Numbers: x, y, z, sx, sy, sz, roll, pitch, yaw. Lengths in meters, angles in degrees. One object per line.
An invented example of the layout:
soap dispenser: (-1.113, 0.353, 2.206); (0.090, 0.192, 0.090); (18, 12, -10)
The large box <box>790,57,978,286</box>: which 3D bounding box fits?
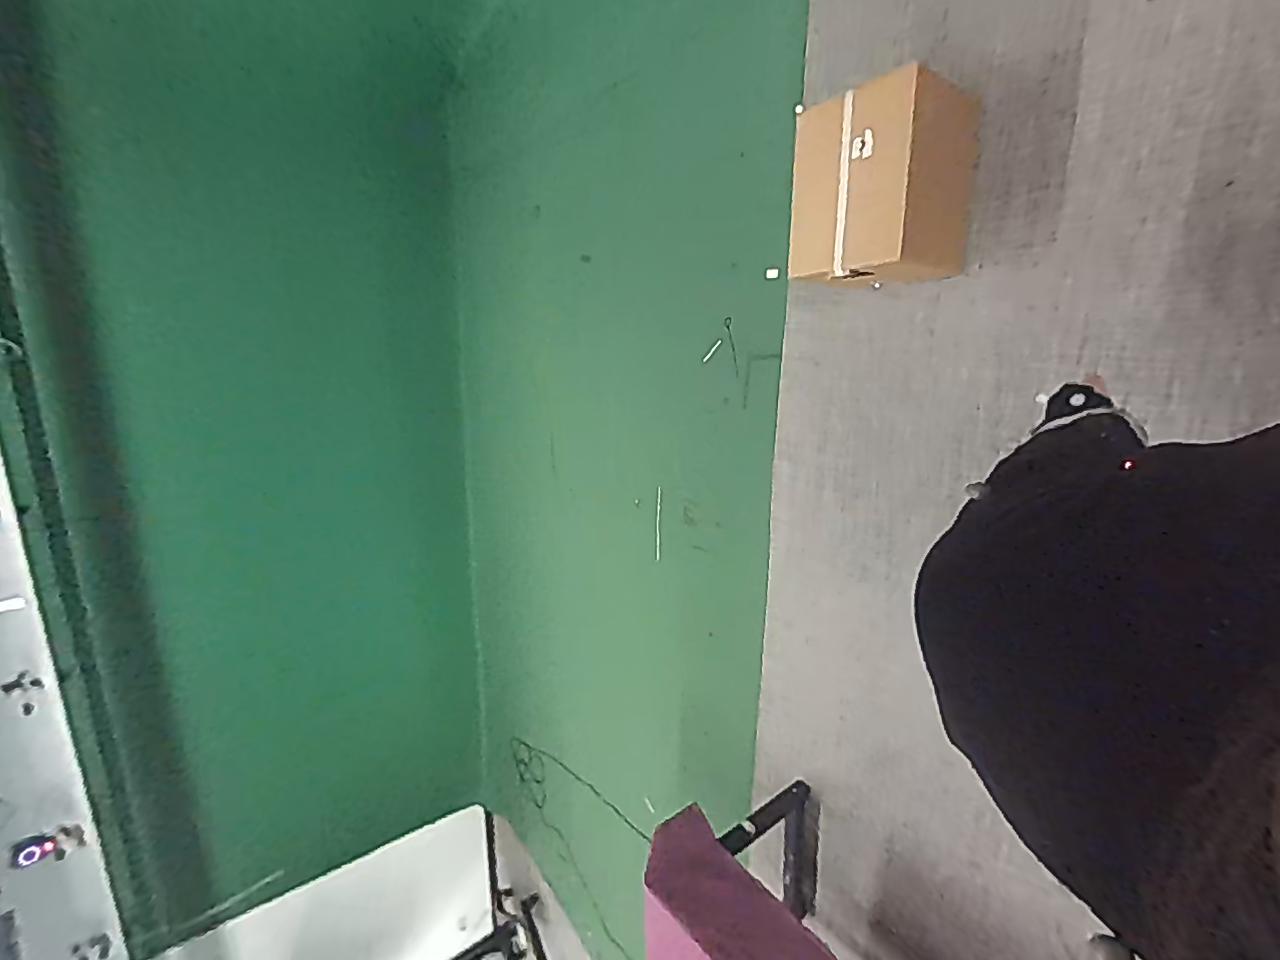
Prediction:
large box: (0.611, -0.736, 1.375); (0.320, 0.320, 0.408); (15, 108, 51)
